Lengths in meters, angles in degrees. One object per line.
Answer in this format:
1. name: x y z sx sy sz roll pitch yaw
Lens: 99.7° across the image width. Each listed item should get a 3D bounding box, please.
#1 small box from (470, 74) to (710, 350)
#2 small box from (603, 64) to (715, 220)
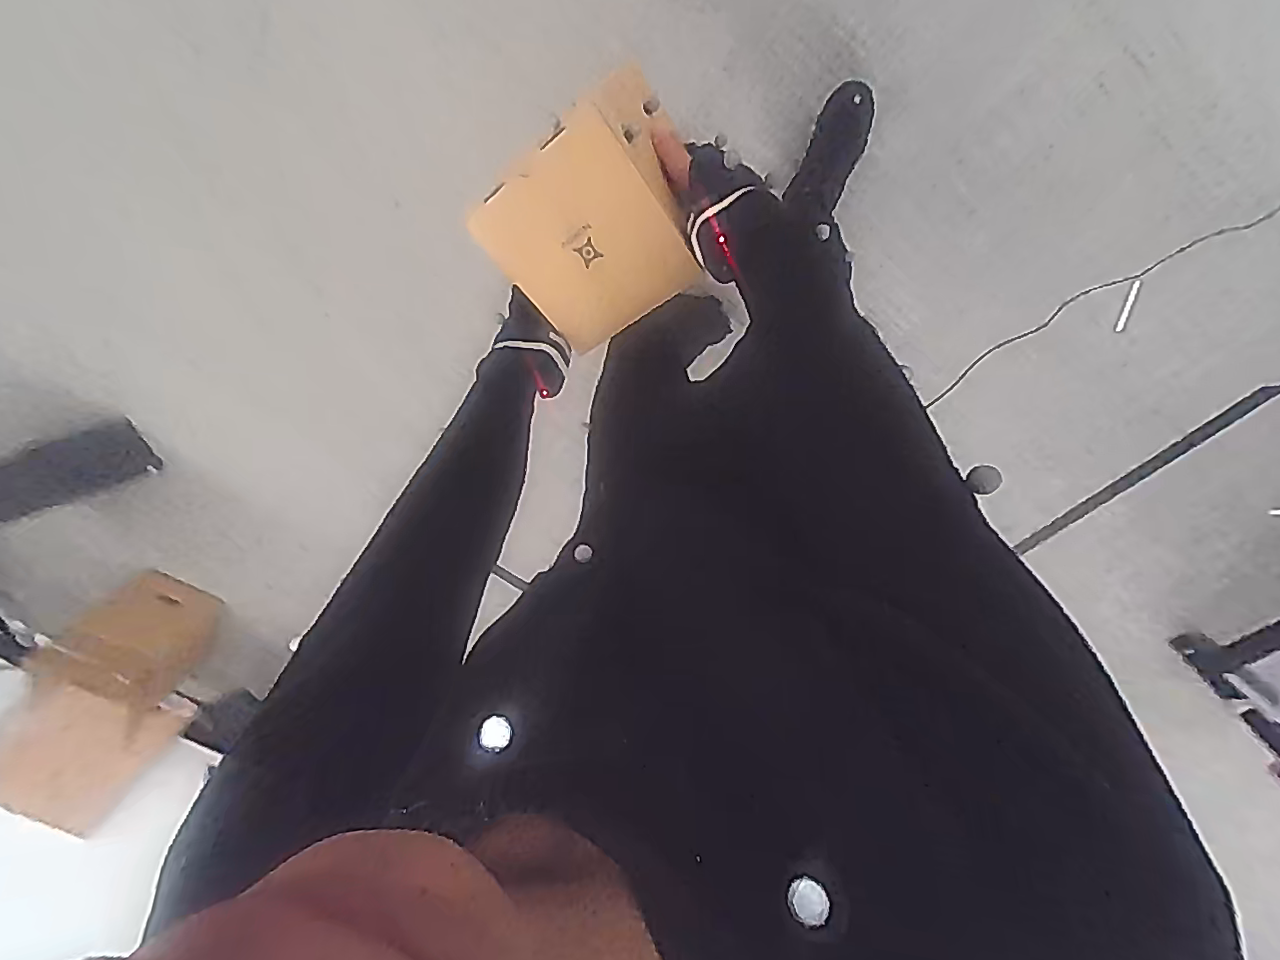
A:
1. small box: -0.036 -0.278 0.565 0.168 0.176 0.179 -24 125 28
2. small box: -0.020 -0.387 0.686 0.168 0.176 0.179 -26 125 28
